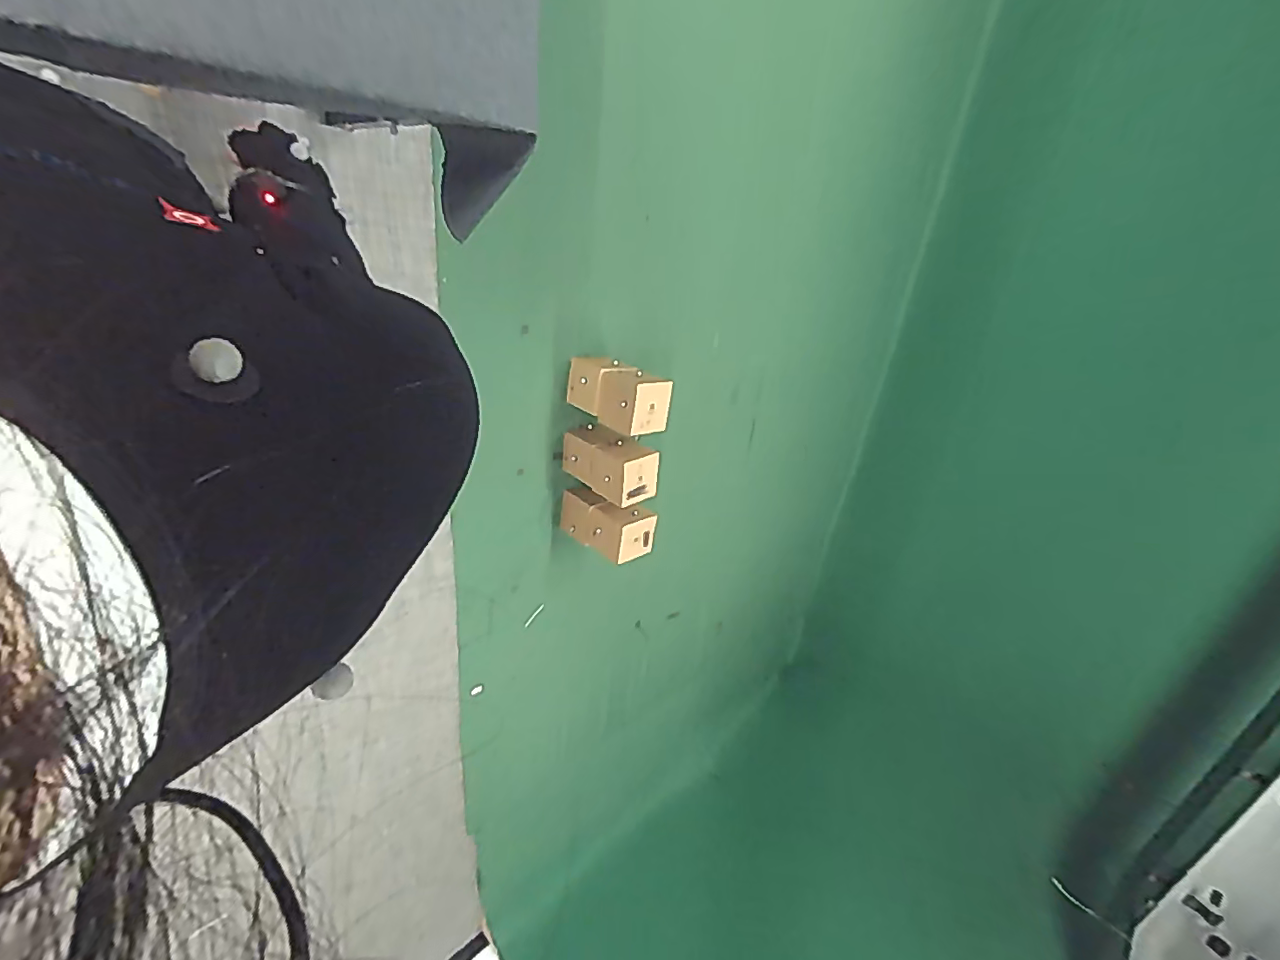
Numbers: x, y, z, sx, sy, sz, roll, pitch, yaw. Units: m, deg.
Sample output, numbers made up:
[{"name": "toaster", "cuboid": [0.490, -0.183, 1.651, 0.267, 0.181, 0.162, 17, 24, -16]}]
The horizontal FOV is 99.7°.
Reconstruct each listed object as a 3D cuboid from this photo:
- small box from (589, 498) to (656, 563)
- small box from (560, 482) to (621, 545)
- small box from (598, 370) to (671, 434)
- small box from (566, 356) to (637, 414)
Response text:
[{"name": "small box", "cuboid": [-0.068, 0.183, 2.043, 0.179, 0.176, 0.168, -16, 124, -42]}, {"name": "small box", "cuboid": [-0.197, 0.126, 2.129, 0.168, 0.176, 0.179, -14, 122, -43]}, {"name": "small box", "cuboid": [-0.022, -0.268, 1.813, 0.168, 0.176, 0.179, -13, 121, -43]}, {"name": "small box", "cuboid": [-0.141, -0.337, 1.905, 0.179, 0.176, 0.168, -12, 121, -44]}]
